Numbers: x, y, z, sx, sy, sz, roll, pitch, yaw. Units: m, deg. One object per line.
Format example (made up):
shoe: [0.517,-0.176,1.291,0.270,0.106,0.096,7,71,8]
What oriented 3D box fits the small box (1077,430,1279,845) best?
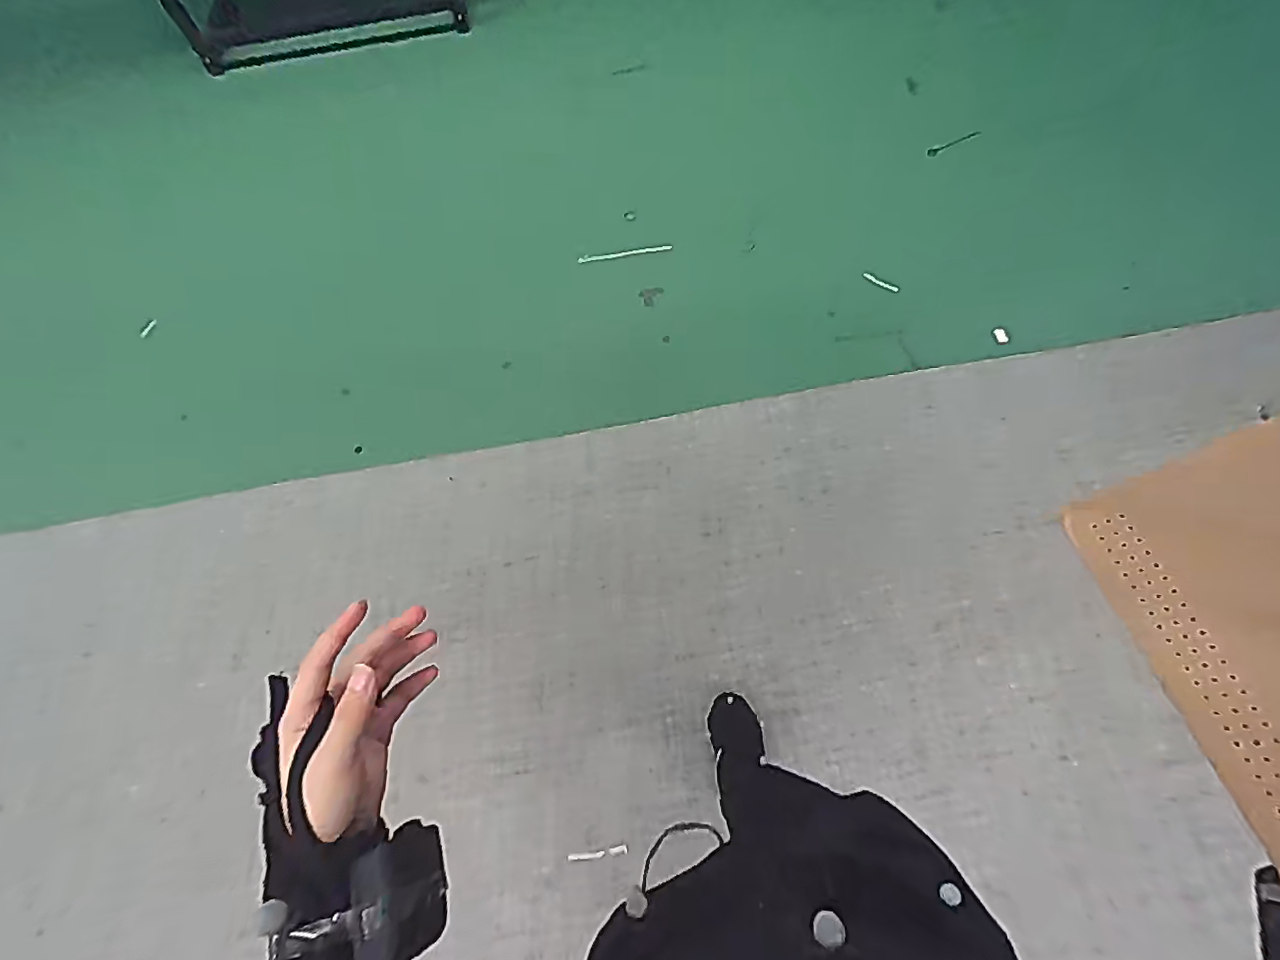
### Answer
small box: [0.348,0.052,0.228,0.168,0.176,0.179,-6,63,-25]
